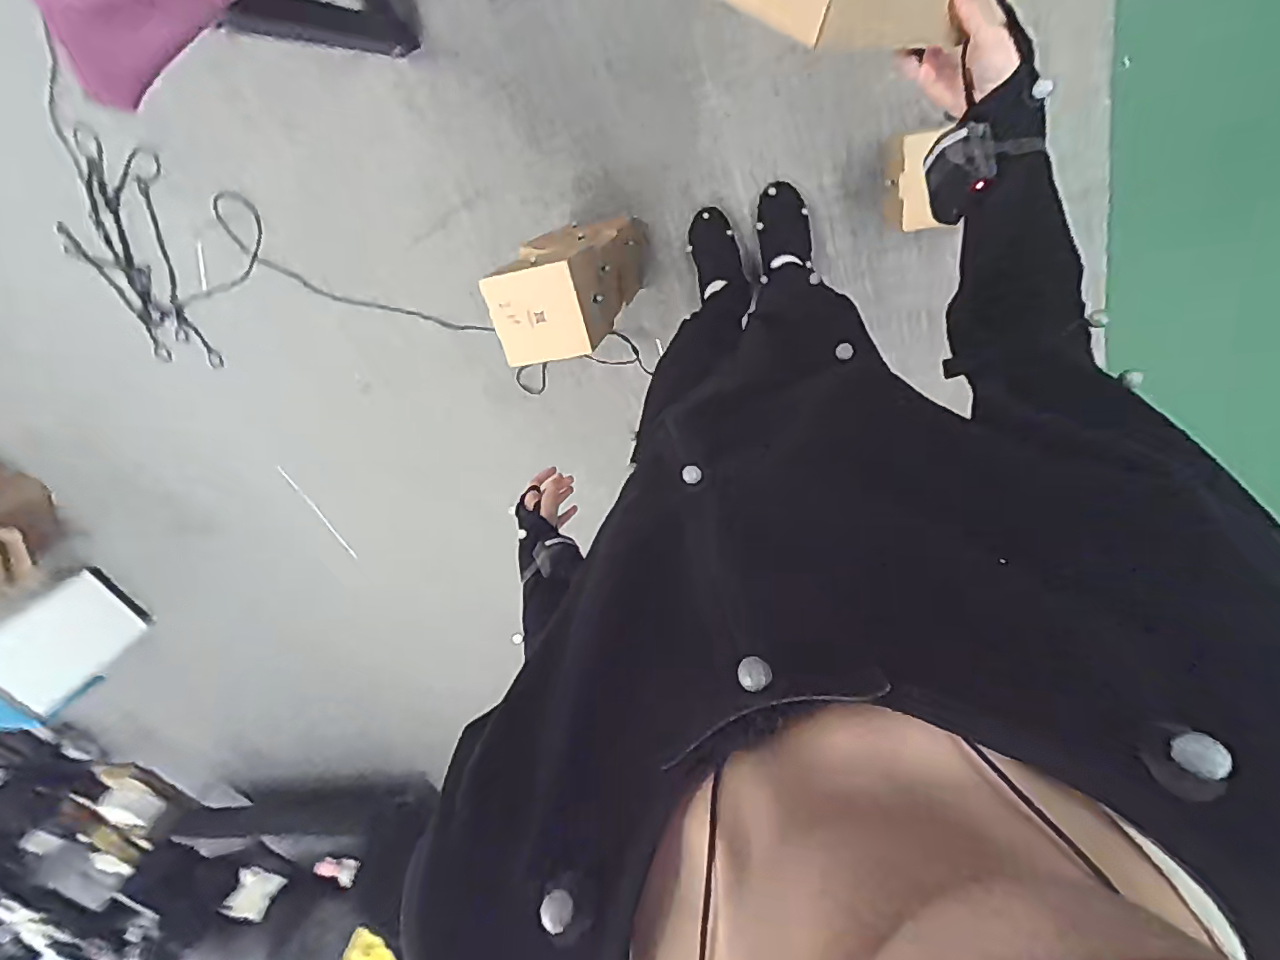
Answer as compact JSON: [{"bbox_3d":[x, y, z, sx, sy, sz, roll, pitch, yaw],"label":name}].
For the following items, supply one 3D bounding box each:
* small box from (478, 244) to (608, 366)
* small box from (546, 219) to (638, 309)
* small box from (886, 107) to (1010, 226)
[{"bbox_3d":[-0.169,-0.335,1.026,0.179,0.176,0.168,-5,121,18],"label":"small box"},{"bbox_3d":[-0.106,-0.517,1.290,0.168,0.176,0.179,1,124,13],"label":"small box"},{"bbox_3d":[0.589,-0.614,1.061,0.179,0.176,0.168,-4,123,16],"label":"small box"}]
